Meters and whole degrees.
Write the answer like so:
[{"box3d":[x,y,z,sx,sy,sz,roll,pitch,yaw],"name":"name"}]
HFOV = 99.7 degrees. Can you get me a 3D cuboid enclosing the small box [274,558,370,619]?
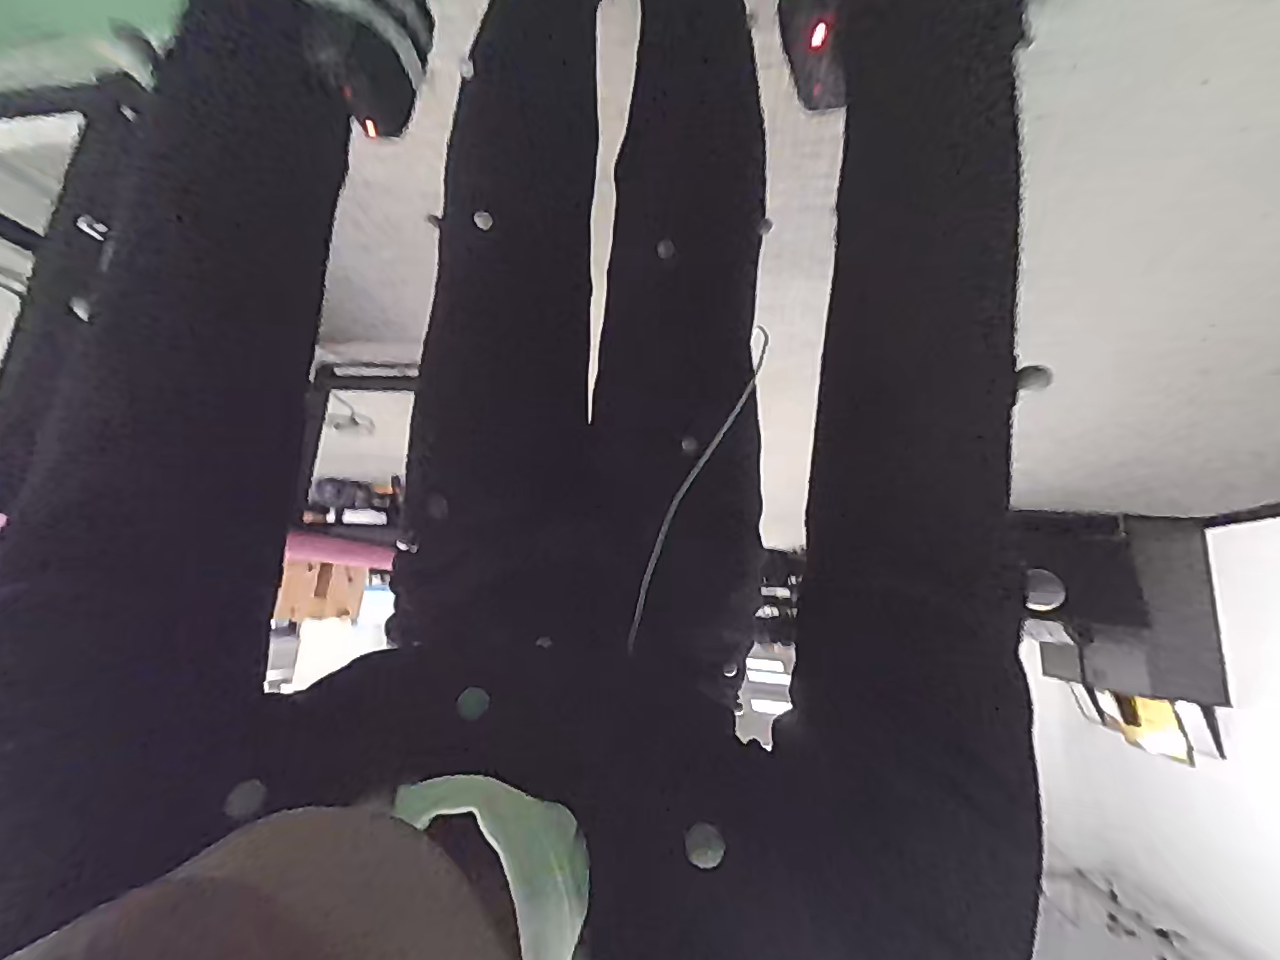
[{"box3d":[-0.954,0.328,1.639,0.179,0.176,0.168,3,167,9],"name":"small box"}]
